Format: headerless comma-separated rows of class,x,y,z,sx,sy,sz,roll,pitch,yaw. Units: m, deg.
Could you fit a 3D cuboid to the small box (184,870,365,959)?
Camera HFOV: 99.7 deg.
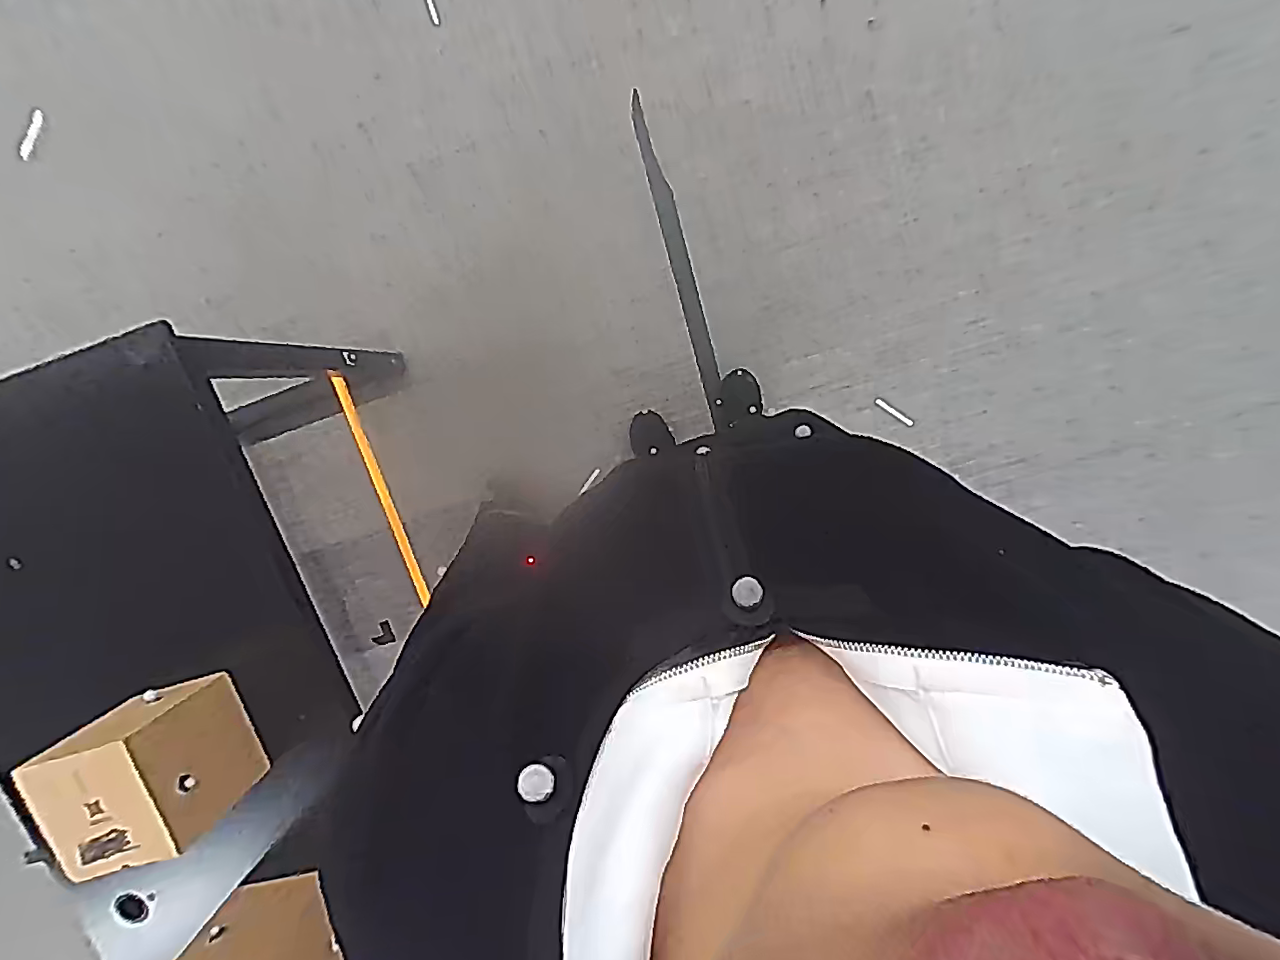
small box,-0.569,0.753,0.835,0.179,0.176,0.168,-15,101,4

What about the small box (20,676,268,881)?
small box,-0.686,0.416,0.774,0.168,0.176,0.179,-17,99,5
